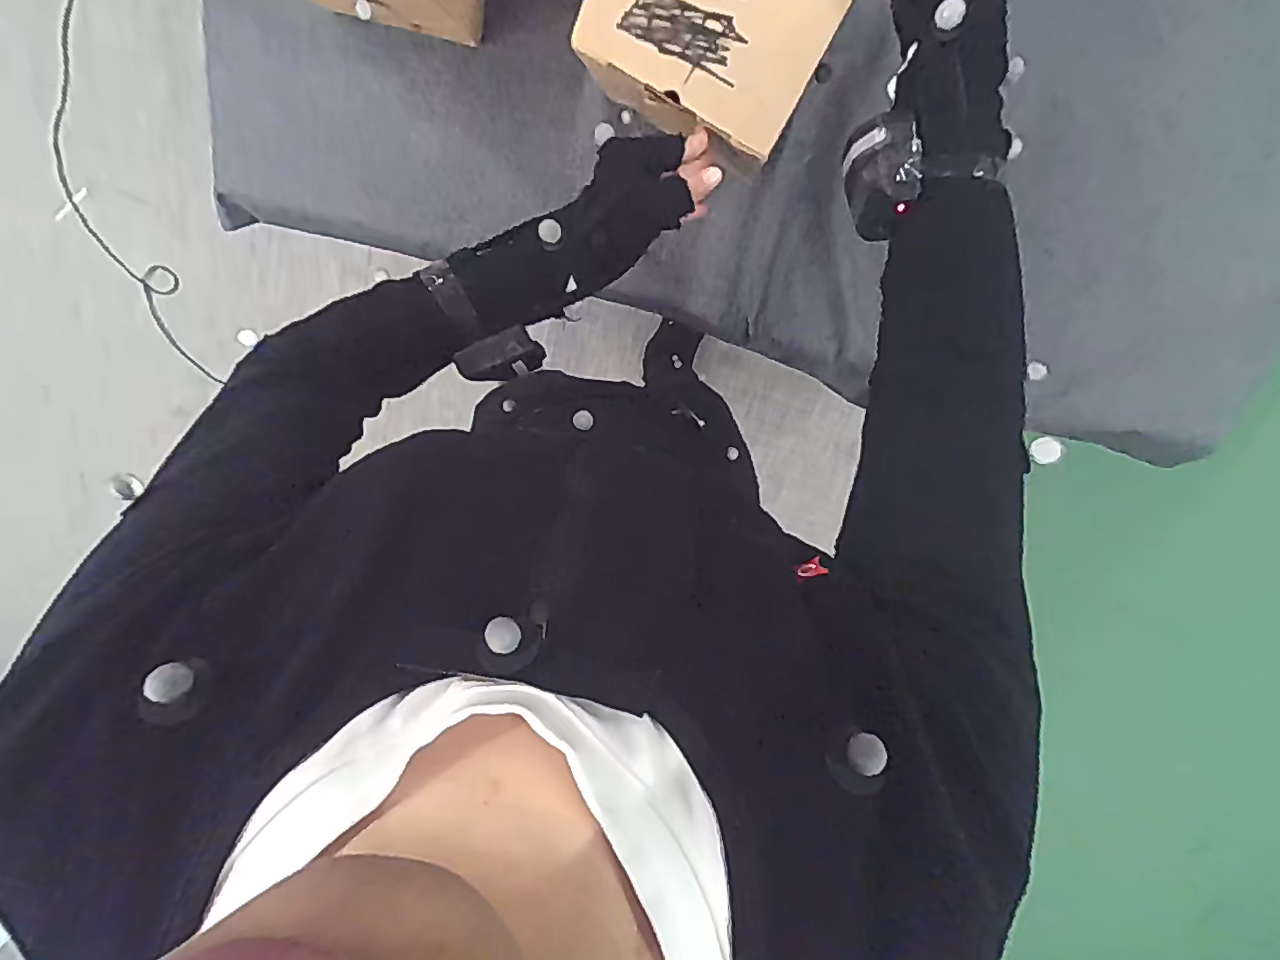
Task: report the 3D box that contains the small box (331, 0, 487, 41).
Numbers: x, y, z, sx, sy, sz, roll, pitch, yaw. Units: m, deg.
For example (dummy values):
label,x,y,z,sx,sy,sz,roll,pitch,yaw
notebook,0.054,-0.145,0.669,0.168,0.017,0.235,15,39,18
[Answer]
label,x,y,z,sx,sy,sz,roll,pitch,yaw
small box,-0.231,-0.517,0.459,0.168,0.176,0.179,15,113,2

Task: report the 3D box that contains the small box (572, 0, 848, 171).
label,x,y,z,sx,sy,sz,roll,pitch,yaw
small box,0.070,-0.378,0.434,0.168,0.176,0.179,27,114,-4
